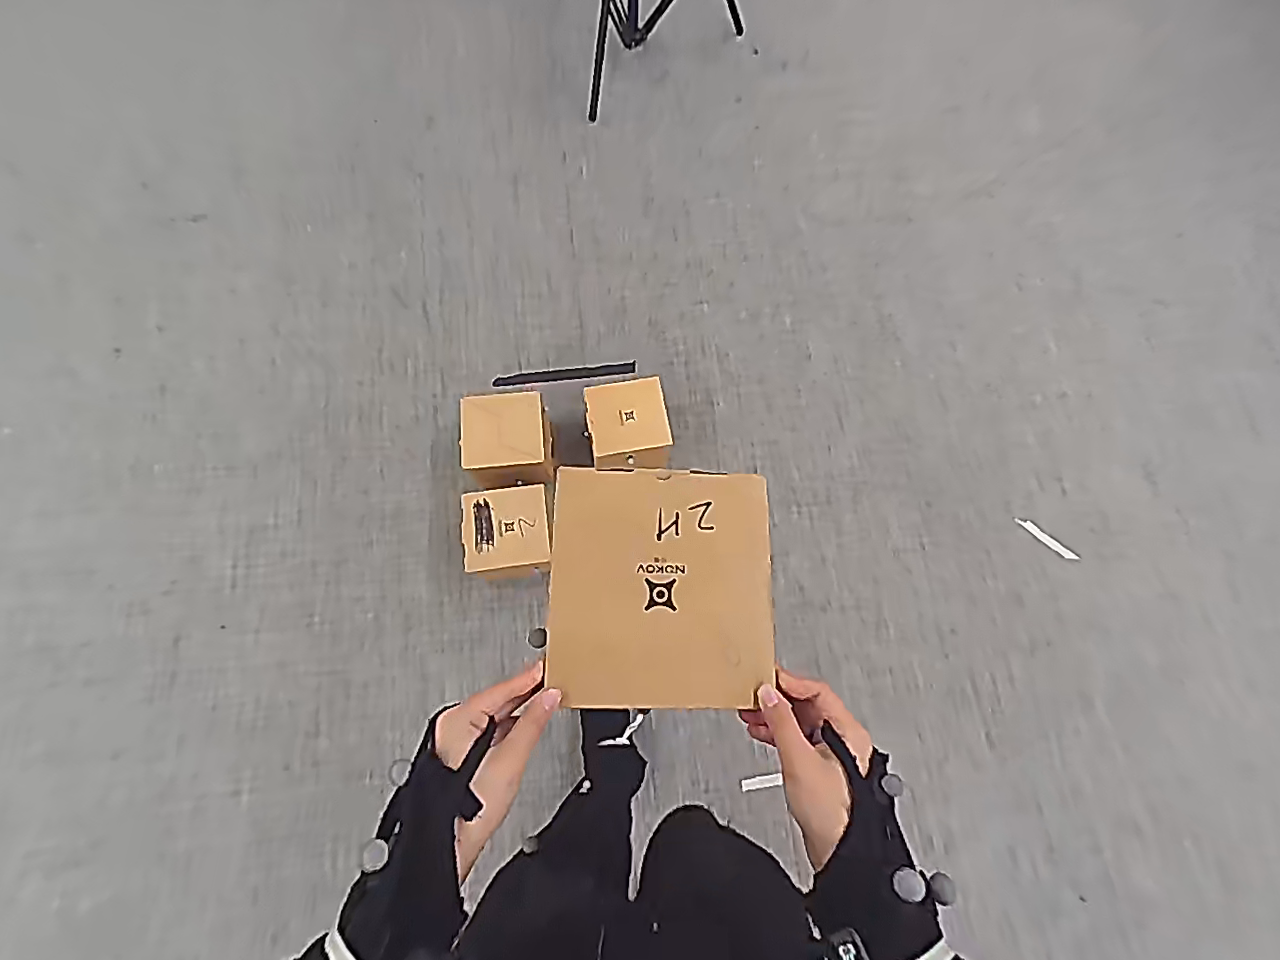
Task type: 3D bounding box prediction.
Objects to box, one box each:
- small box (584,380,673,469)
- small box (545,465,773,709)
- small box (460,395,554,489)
[{"bbox_3d":[-0.031,-0.115,1.266,0.179,0.176,0.168,-10,76,-5],"label":"small box"},{"bbox_3d":[0.013,0.095,0.479,0.168,0.176,0.179,2,75,-4],"label":"small box"},{"bbox_3d":[-0.299,-0.085,1.240,0.179,0.176,0.168,-5,75,-4],"label":"small box"}]
